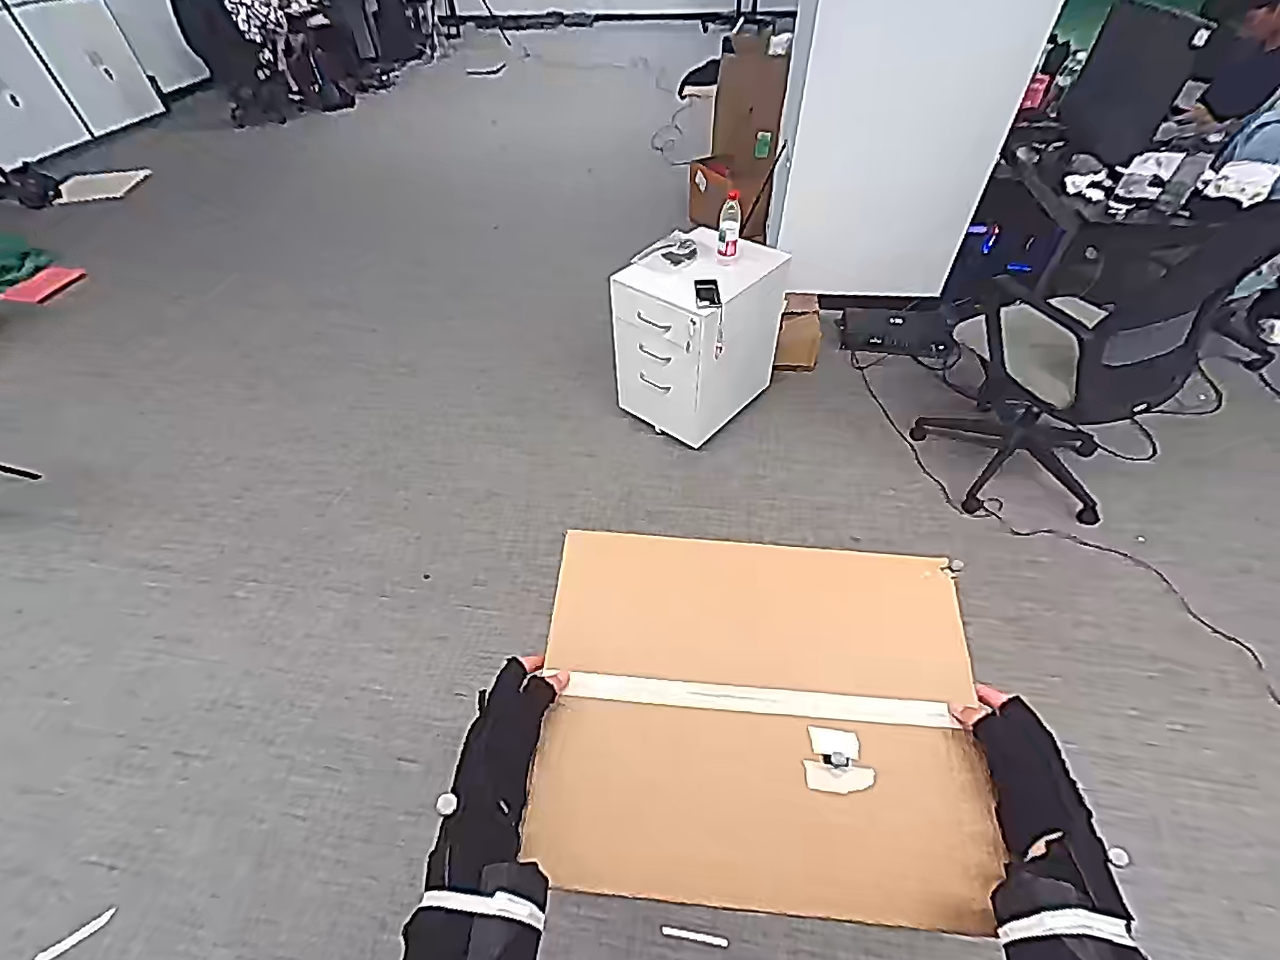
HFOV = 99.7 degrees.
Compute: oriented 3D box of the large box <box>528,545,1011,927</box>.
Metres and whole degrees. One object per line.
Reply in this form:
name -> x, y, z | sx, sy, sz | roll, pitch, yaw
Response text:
large box -> 0.111, 0.288, 0.641 | 0.408, 0.320, 0.320 | 4, 61, 2
